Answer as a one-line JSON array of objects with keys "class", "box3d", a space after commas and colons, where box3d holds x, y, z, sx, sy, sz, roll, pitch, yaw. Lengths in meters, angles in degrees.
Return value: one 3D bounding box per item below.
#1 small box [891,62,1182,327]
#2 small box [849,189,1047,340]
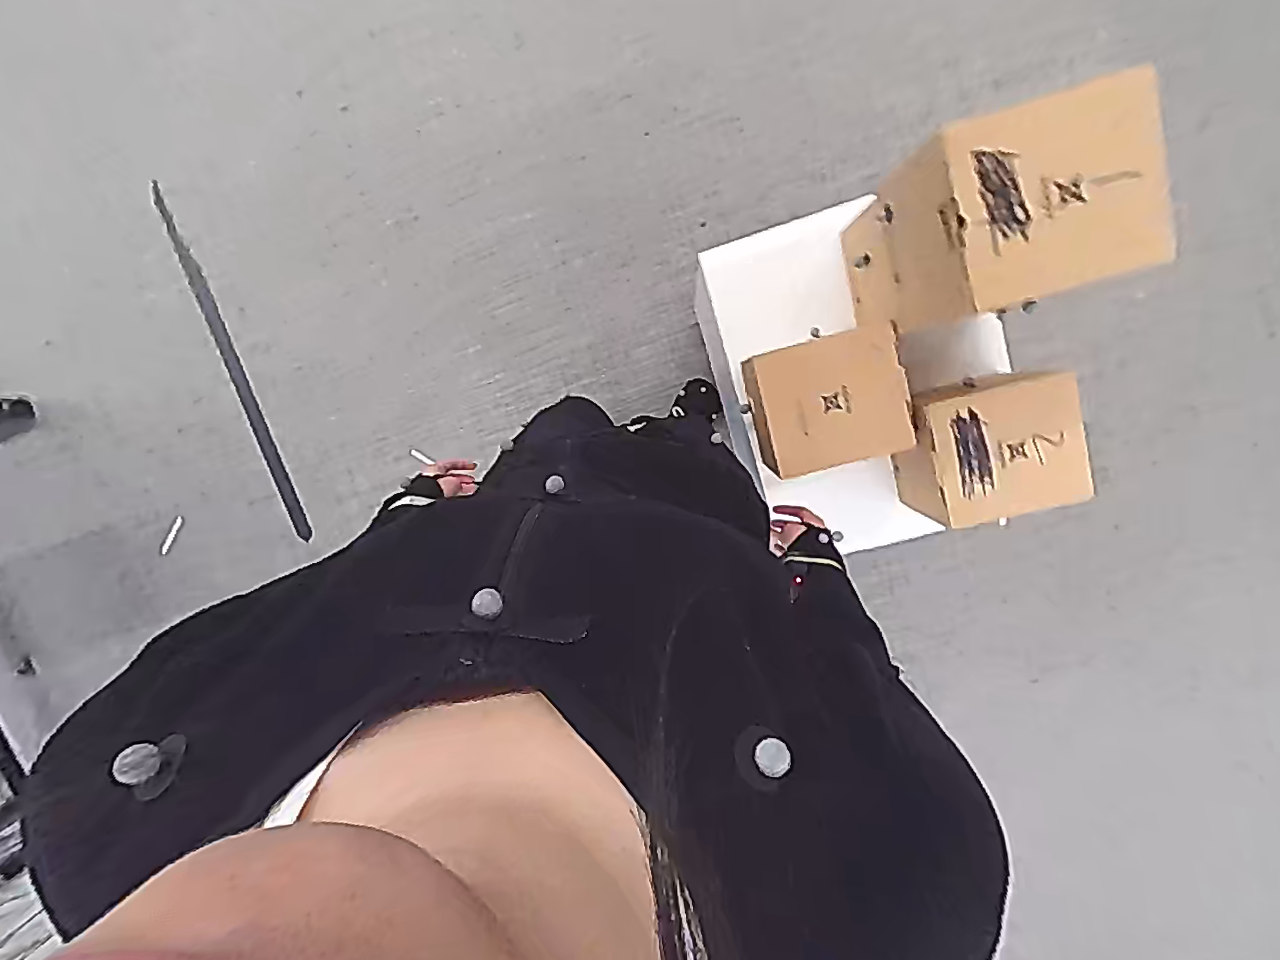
[{"class": "small box", "box3d": [0.374, -0.262, 0.547, 0.179, 0.176, 0.168, -14, 99, 6]}, {"class": "small box", "box3d": [0.389, -0.288, 0.709, 0.179, 0.176, 0.168, -13, 99, 7]}]
